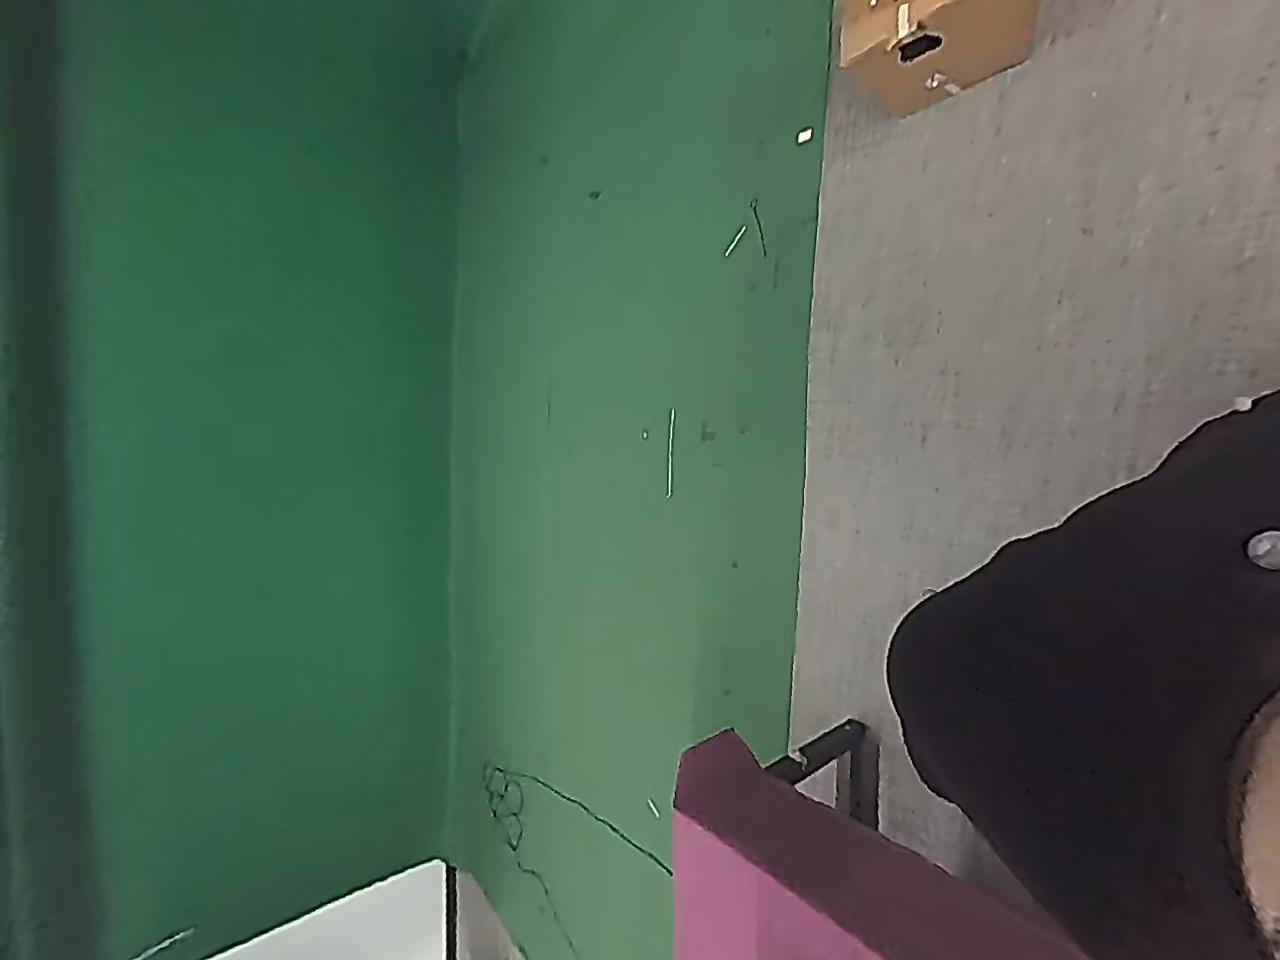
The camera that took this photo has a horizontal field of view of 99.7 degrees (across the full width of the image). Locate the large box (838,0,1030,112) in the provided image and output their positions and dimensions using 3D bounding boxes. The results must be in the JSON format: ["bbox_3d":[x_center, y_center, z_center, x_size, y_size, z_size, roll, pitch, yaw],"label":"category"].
[{"bbox_3d":[0.699,-1.202,1.282,0.320,0.320,0.408,5,94,51],"label":"large box"}]

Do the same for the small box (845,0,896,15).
[{"bbox_3d":[0.505,-1.145,1.137,0.168,0.176,0.179,22,109,49],"label":"small box"}]
